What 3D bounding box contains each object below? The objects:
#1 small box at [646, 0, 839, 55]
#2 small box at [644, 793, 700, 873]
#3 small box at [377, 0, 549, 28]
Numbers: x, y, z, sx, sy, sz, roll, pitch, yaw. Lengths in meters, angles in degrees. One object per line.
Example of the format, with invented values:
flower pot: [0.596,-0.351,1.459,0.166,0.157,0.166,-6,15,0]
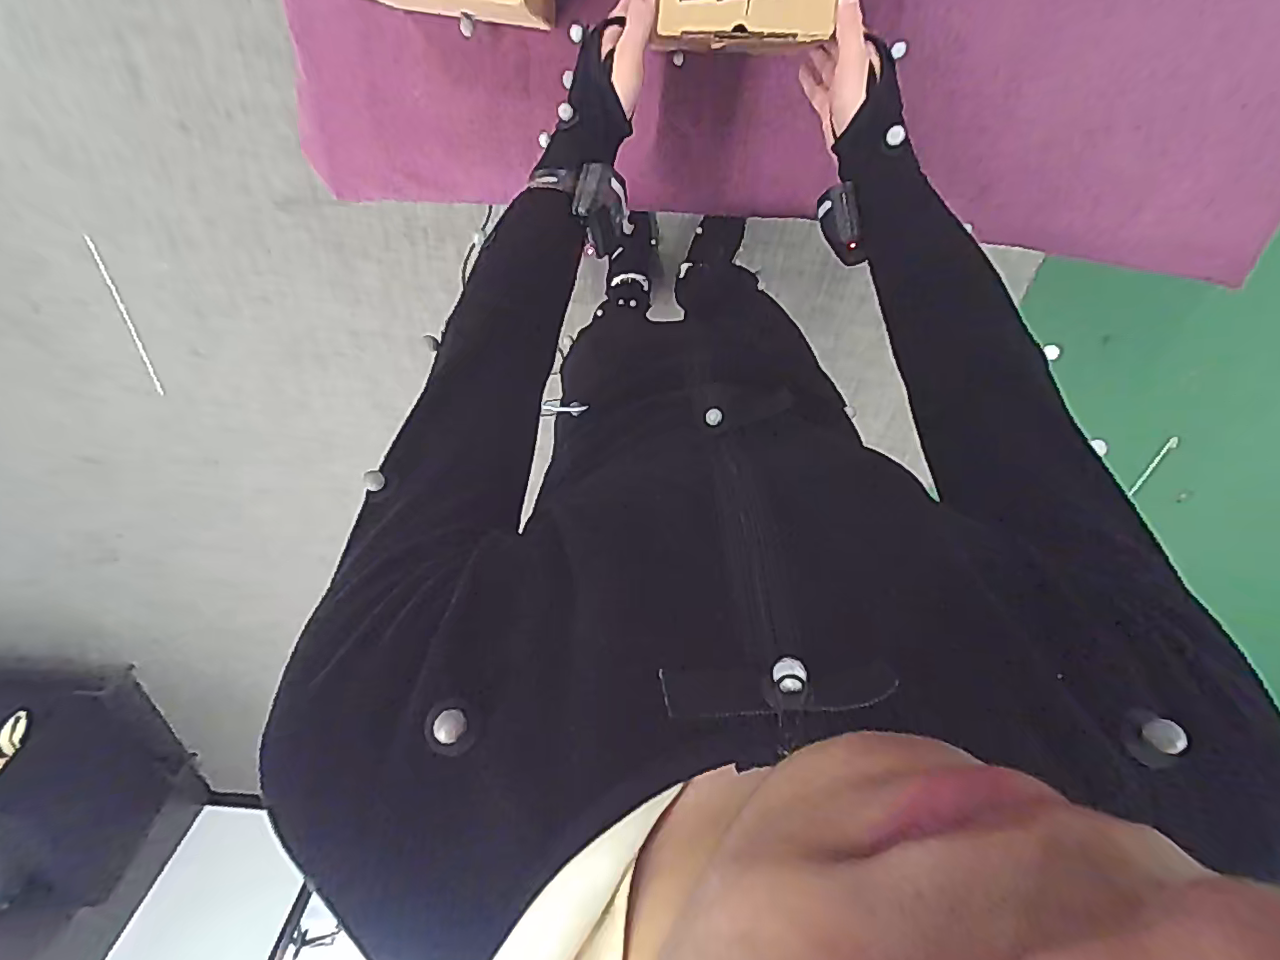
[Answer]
small box: [0.093,-0.502,0.489,0.168,0.176,0.179,2,124,1]
small box: [0.107,1.198,1.836,0.168,0.176,0.179,7,125,-2]
small box: [-0.173,-0.527,0.483,0.179,0.176,0.168,6,124,-3]
